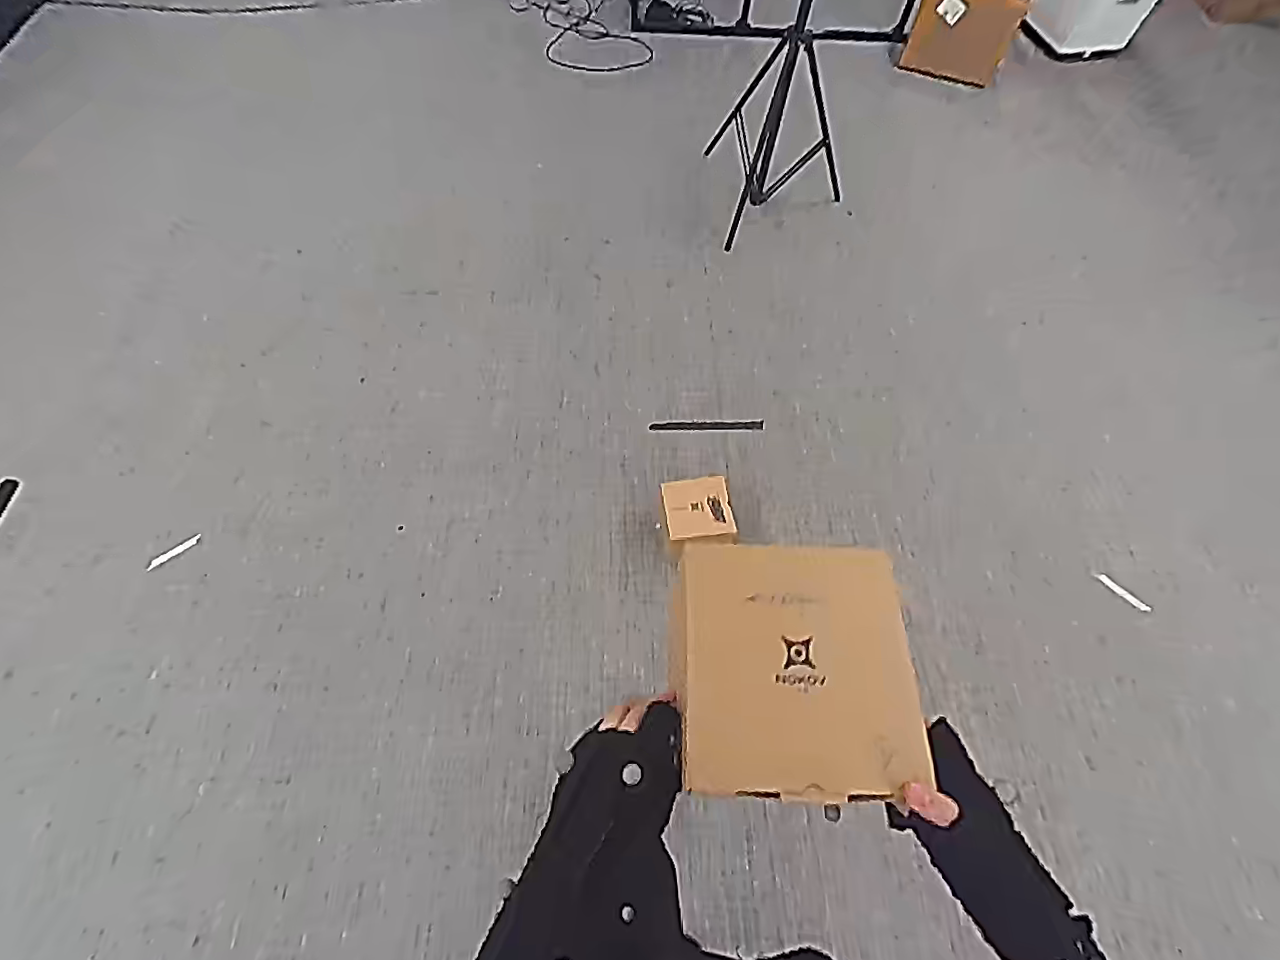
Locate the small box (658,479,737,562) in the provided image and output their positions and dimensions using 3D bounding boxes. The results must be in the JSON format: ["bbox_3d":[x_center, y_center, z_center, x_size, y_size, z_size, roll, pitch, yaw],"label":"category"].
[{"bbox_3d":[0.150,0.113,1.470,0.179,0.176,0.168,-6,63,-5],"label":"small box"}]
